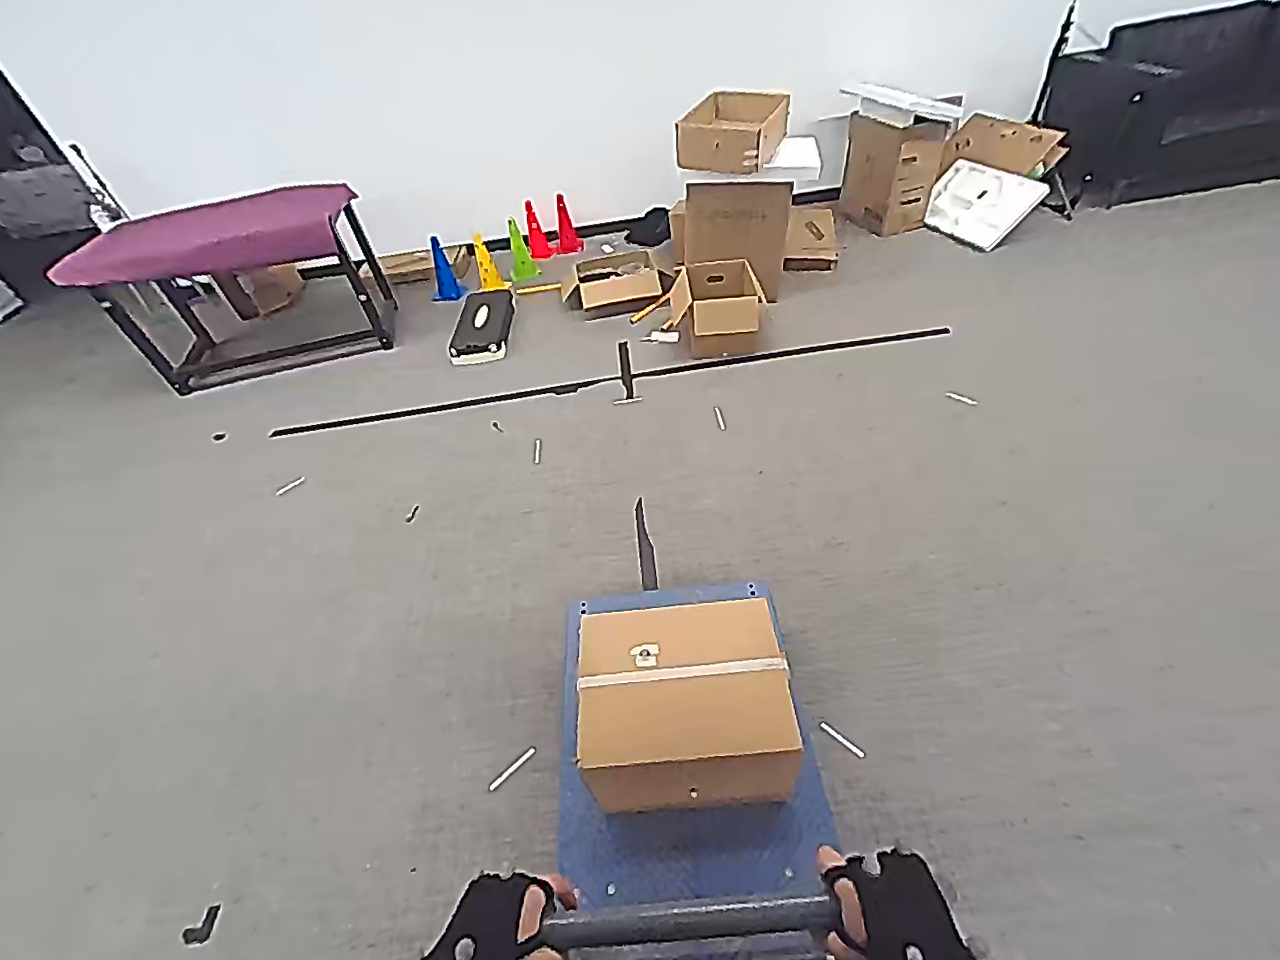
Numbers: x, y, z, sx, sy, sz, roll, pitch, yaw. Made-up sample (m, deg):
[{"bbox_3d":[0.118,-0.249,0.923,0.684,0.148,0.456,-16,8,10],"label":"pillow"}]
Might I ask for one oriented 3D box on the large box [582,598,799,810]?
[{"bbox_3d":[0.101,0.495,1.186,0.408,0.320,0.320,-8,44,3],"label":"large box"}]
